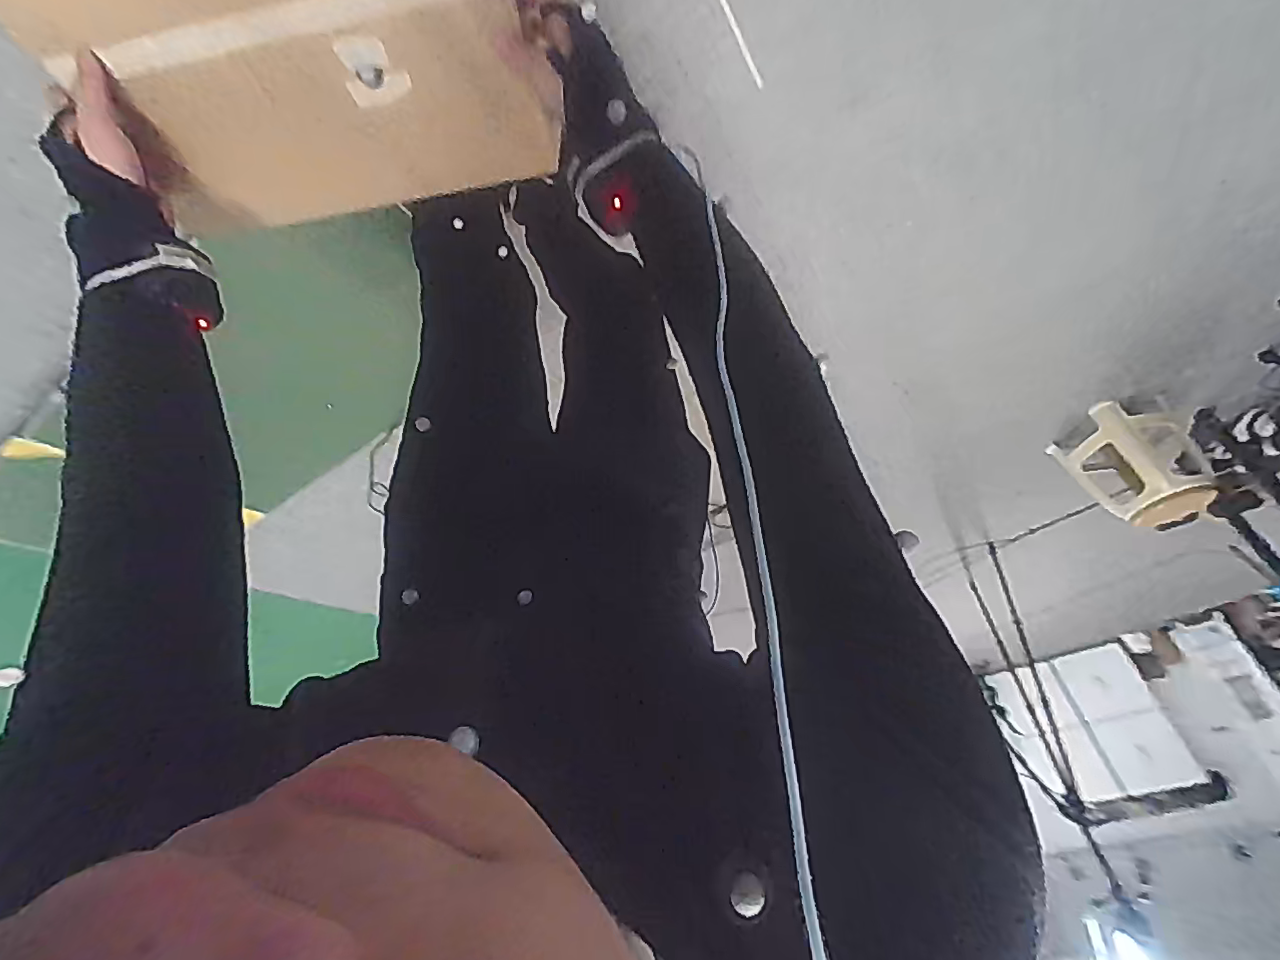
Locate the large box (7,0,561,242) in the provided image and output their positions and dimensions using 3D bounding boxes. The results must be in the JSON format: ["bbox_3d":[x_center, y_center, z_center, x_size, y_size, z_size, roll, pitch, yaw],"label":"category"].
[{"bbox_3d":[-0.317,-0.501,0.549,0.408,0.320,0.320,-9,143,5],"label":"large box"}]
